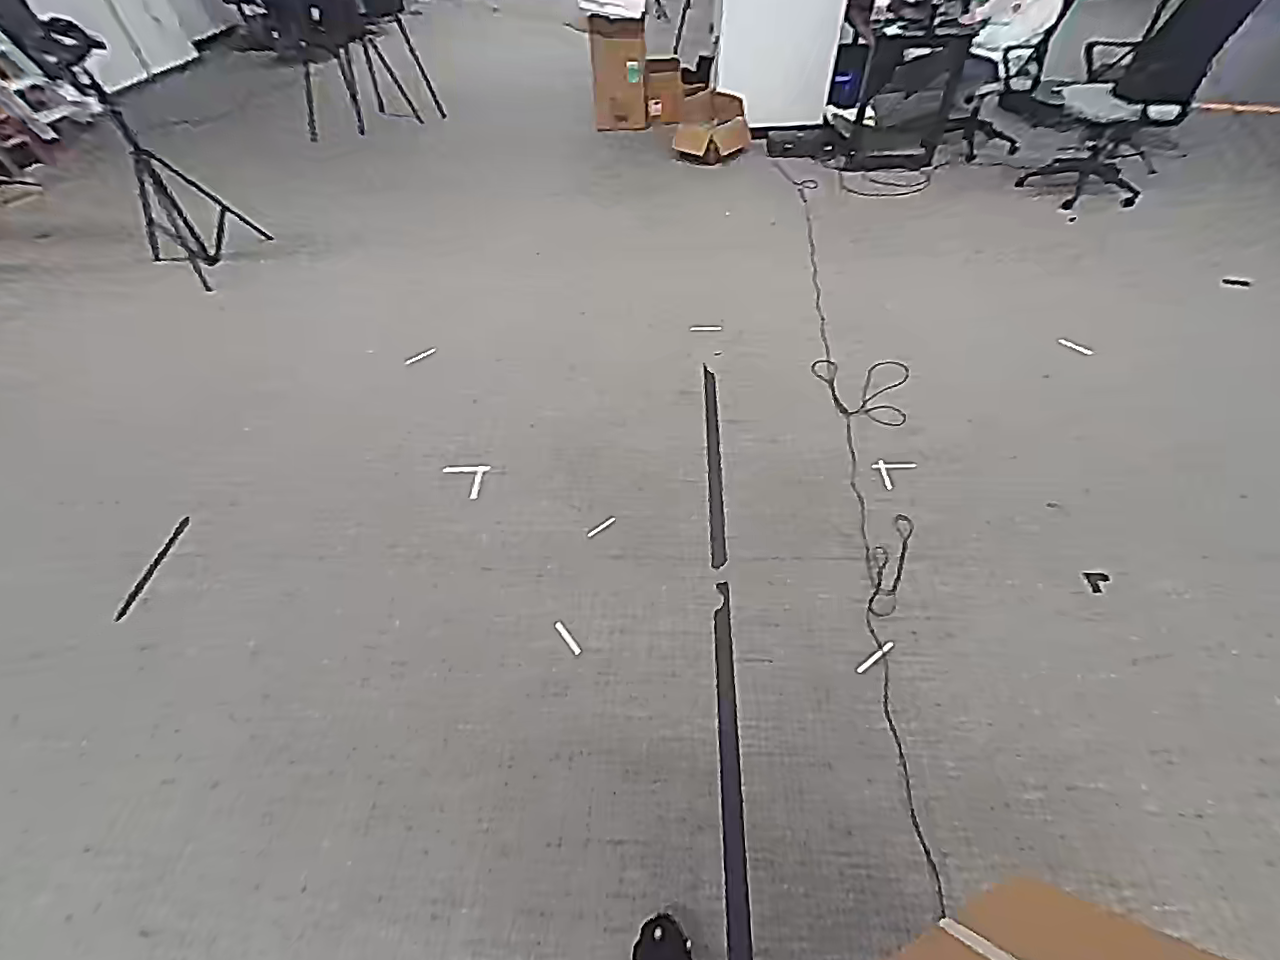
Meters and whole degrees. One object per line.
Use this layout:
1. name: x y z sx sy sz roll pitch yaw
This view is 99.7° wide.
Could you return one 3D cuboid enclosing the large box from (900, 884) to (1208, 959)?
1. large box: 0.548 0.741 0.587 0.320 0.408 0.320 -19 74 -14
